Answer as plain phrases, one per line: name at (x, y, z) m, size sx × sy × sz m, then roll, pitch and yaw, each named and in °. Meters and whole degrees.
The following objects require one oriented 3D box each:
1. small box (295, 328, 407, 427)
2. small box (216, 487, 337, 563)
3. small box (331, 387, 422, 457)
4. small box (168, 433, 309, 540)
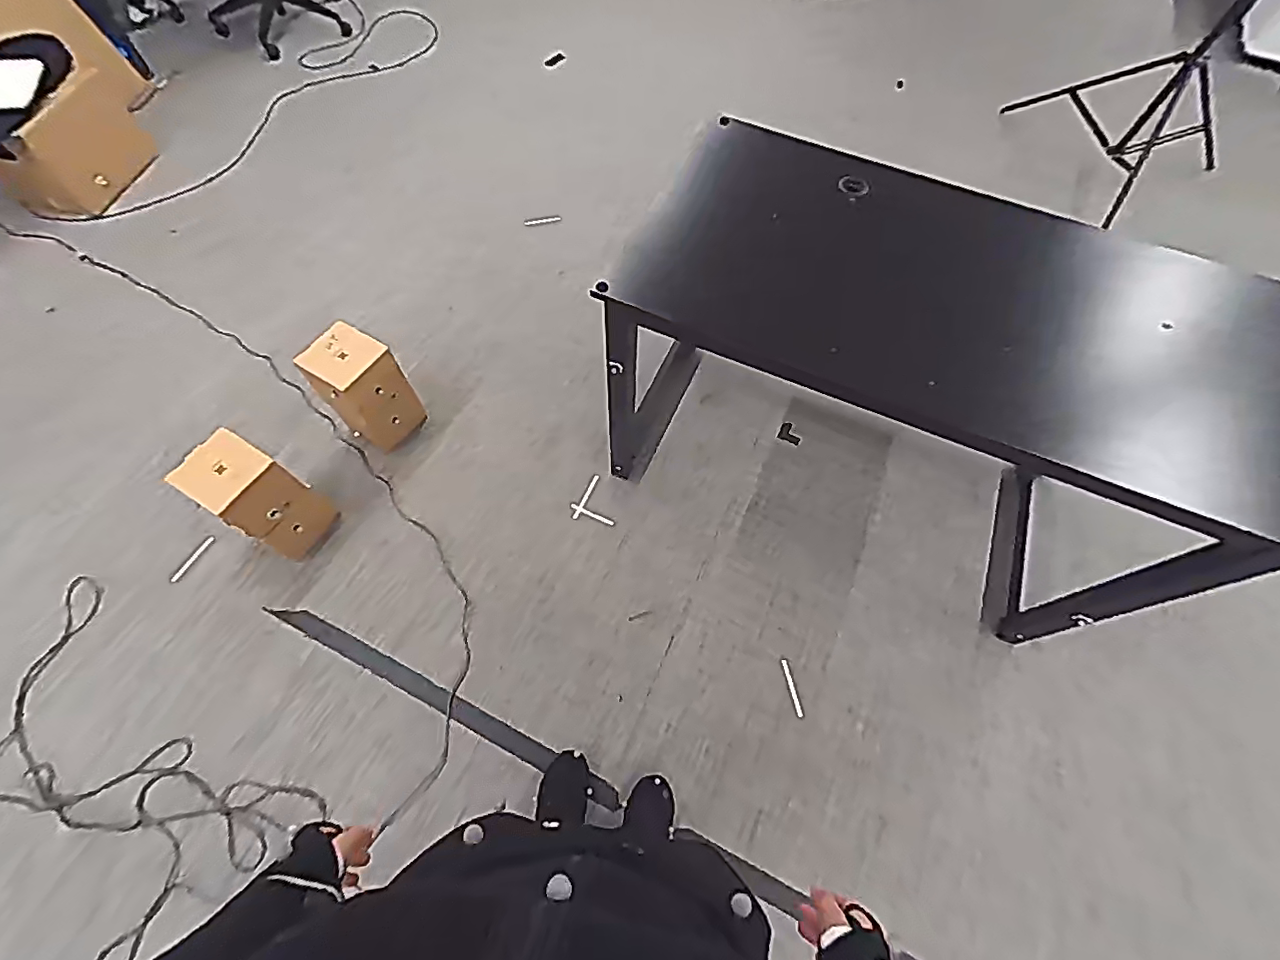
small box at (-0.766, -0.269, 1.458) m, size 0.179 × 0.176 × 0.168 m, roll 28°, pitch 65°, yaw 12°
small box at (-0.961, 0.101, 1.452) m, size 0.168 × 0.176 × 0.179 m, roll 24°, pitch 66°, yaw 10°
small box at (-0.778, -0.203, 1.609) m, size 0.168 × 0.176 × 0.179 m, roll 31°, pitch 67°, yaw 13°
small box at (-0.958, 0.023, 1.308) m, size 0.179 × 0.176 × 0.168 m, roll 28°, pitch 67°, yaw 11°
